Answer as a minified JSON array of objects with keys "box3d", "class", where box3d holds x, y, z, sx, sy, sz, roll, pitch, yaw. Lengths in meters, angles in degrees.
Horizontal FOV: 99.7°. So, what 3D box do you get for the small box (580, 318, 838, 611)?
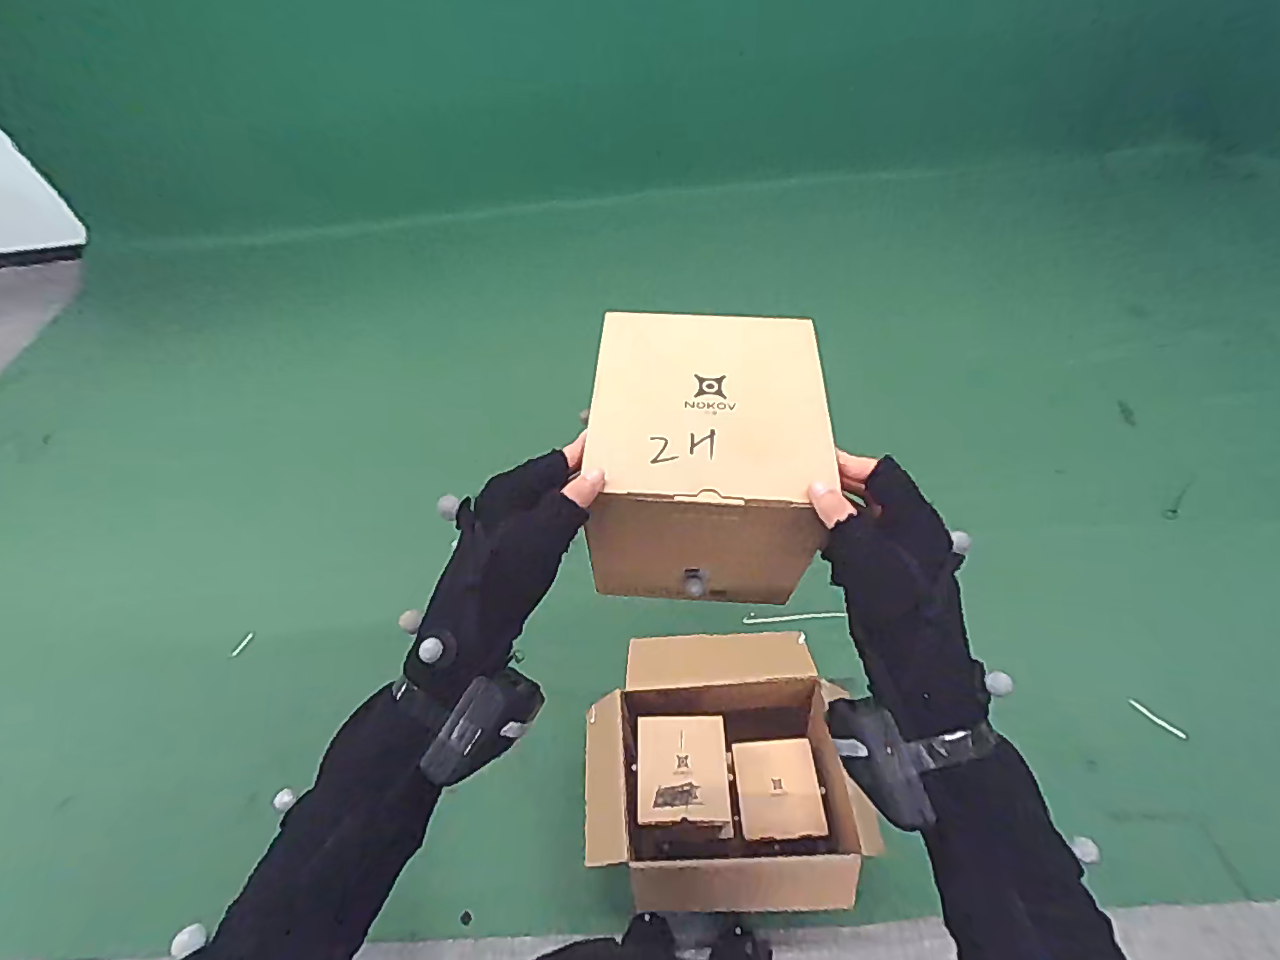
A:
[{"box3d":[0.049,-0.009,0.450,0.168,0.176,0.179,3,56,3],"class":"small box"}]
